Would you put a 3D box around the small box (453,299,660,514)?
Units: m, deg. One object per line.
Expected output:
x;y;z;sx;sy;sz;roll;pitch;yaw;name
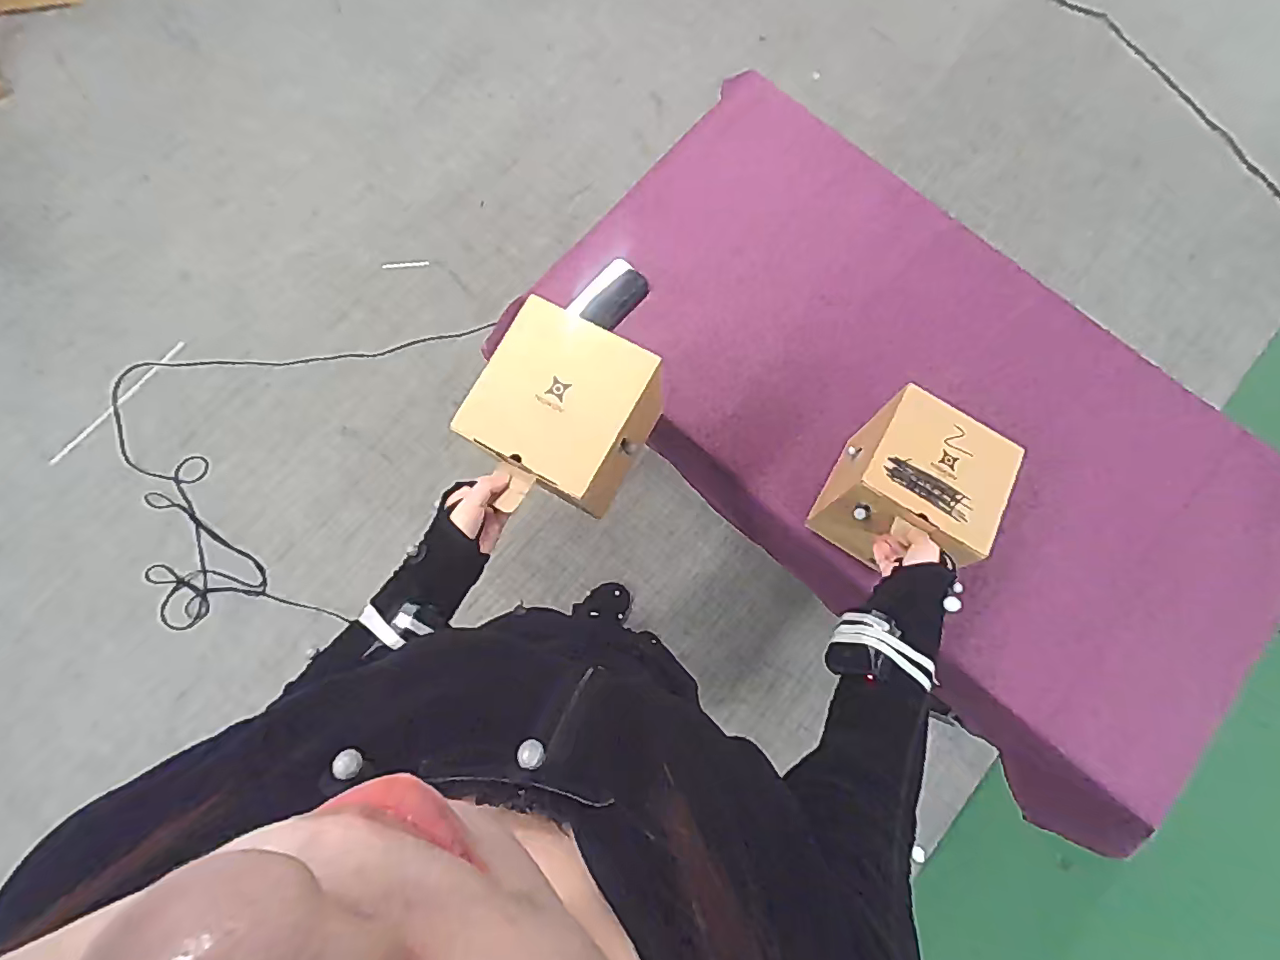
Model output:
-0.089;-0.077;0.659;0.168;0.176;0.179;28;82;7;small box
